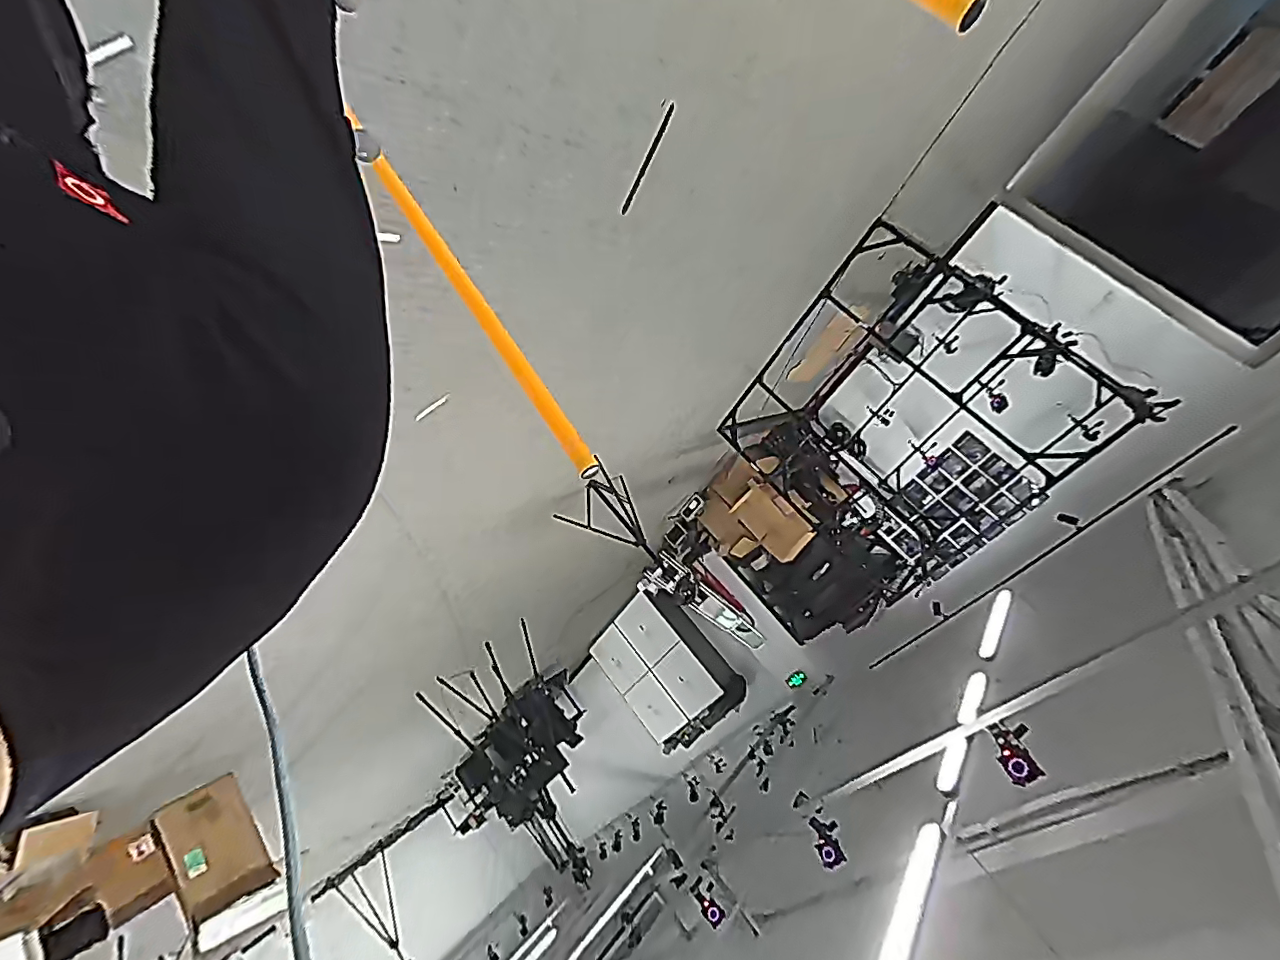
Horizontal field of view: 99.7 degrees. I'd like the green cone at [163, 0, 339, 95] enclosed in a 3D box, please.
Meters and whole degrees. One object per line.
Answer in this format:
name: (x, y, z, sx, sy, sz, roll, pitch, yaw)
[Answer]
green cone: (-0.634, -0.776, 0.940, 0.202, 0.368, 0.200, -17, 149, -54)
